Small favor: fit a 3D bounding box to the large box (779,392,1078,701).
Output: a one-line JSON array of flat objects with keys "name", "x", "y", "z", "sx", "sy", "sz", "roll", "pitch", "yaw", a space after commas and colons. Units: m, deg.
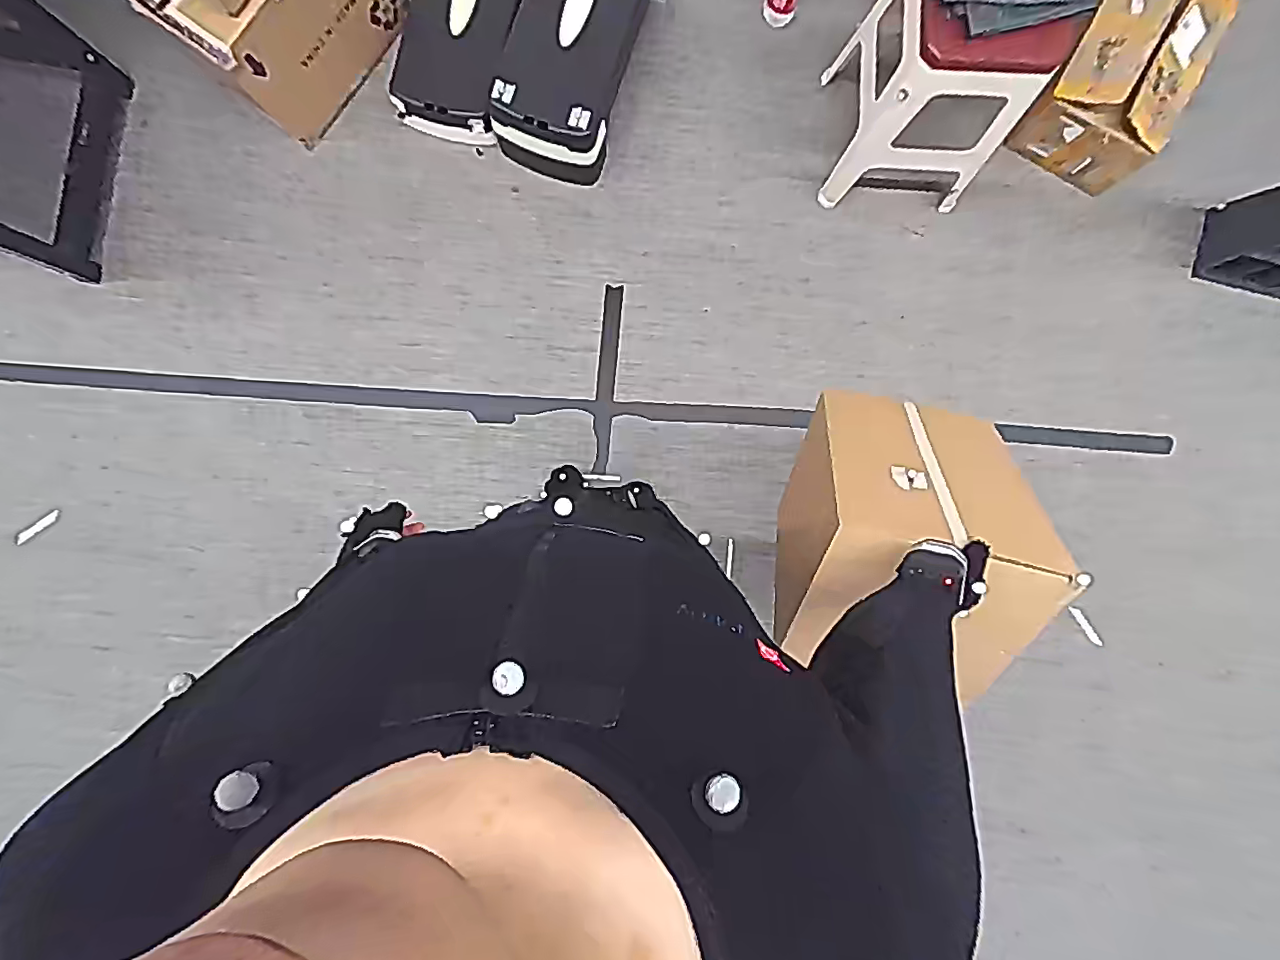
[{"name": "large box", "x": 0.441, "y": 0.100, "z": 0.958, "sx": 0.320, "sy": 0.408, "sz": 0.320, "roll": 13, "pitch": 129, "yaw": 5}]
